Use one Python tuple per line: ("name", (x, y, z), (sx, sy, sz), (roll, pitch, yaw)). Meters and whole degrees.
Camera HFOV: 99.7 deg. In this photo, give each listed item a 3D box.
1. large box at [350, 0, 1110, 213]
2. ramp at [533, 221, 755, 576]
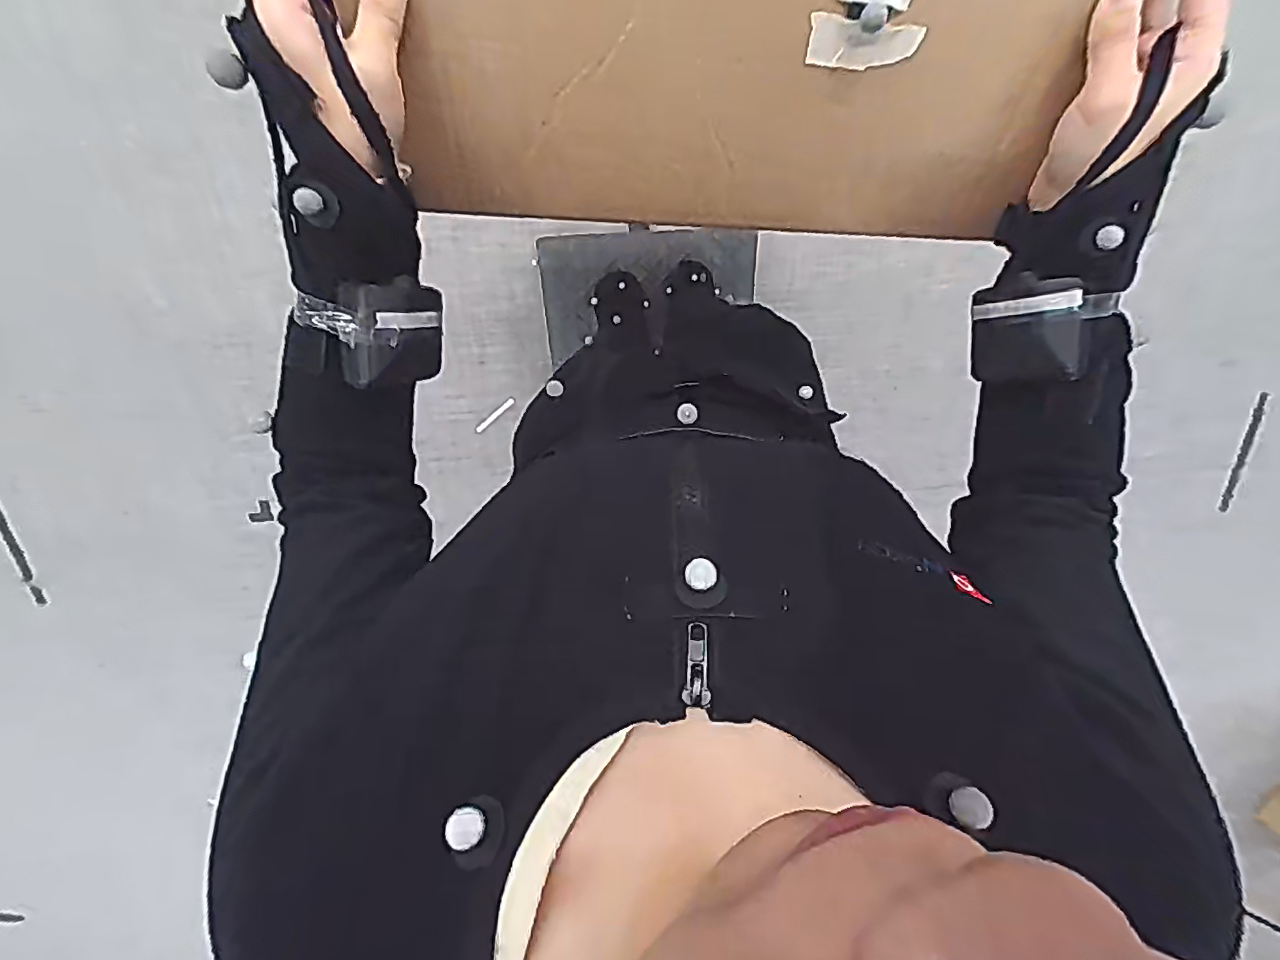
("large box", (0.046, -0.393, 0.343), (0.408, 0.320, 0.320), (1, 139, -3))
("ramp", (0.030, -0.135, 1.442), (0.509, 0.206, 0.991), (-5, 113, -2))
